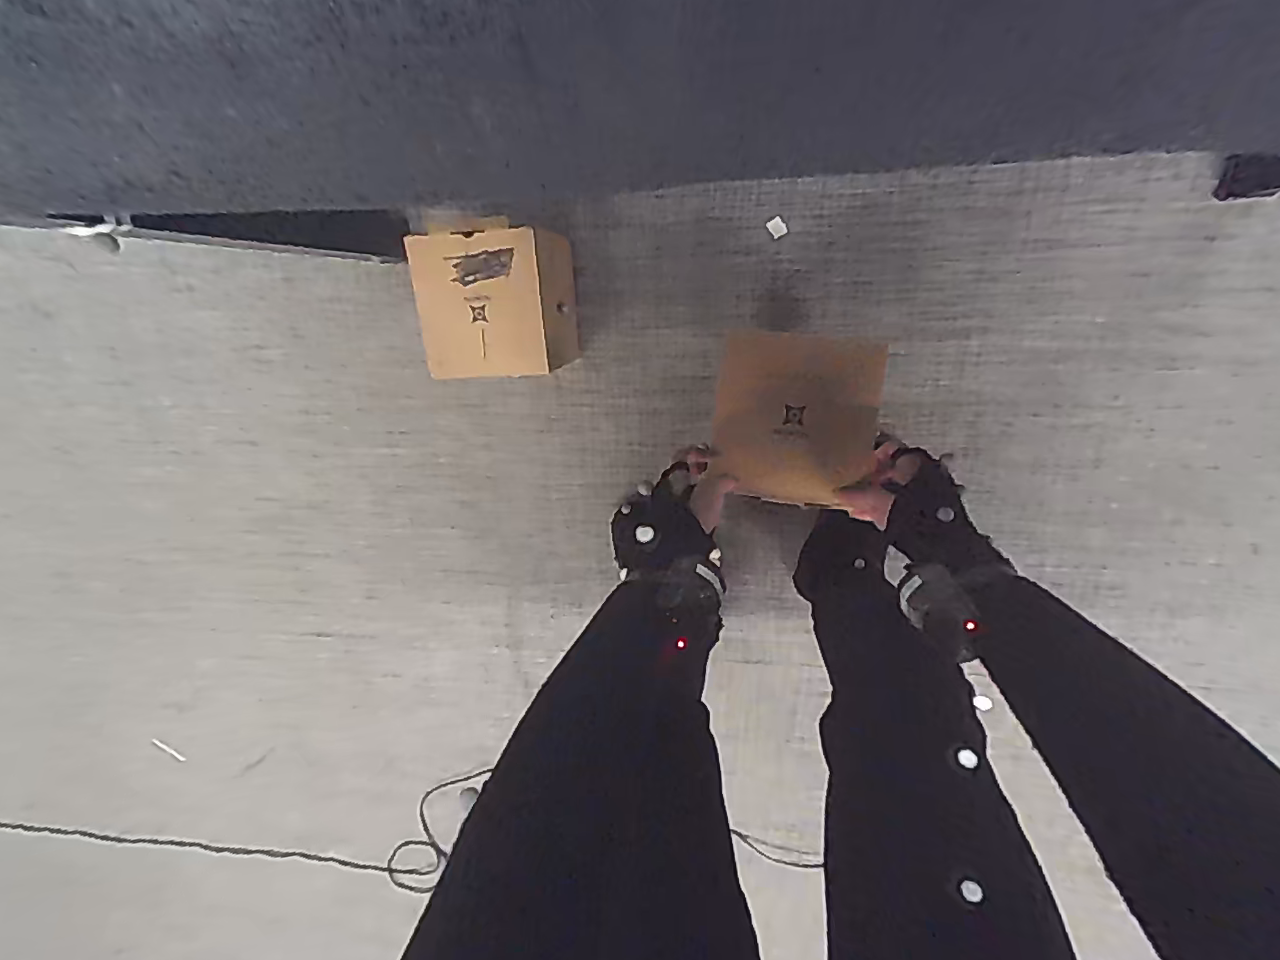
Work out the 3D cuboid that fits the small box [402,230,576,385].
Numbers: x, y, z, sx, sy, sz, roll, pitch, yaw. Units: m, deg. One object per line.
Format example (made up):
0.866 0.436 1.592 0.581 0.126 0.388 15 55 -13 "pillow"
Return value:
-0.191 -0.232 0.739 0.168 0.176 0.179 -1 109 9 "small box"
